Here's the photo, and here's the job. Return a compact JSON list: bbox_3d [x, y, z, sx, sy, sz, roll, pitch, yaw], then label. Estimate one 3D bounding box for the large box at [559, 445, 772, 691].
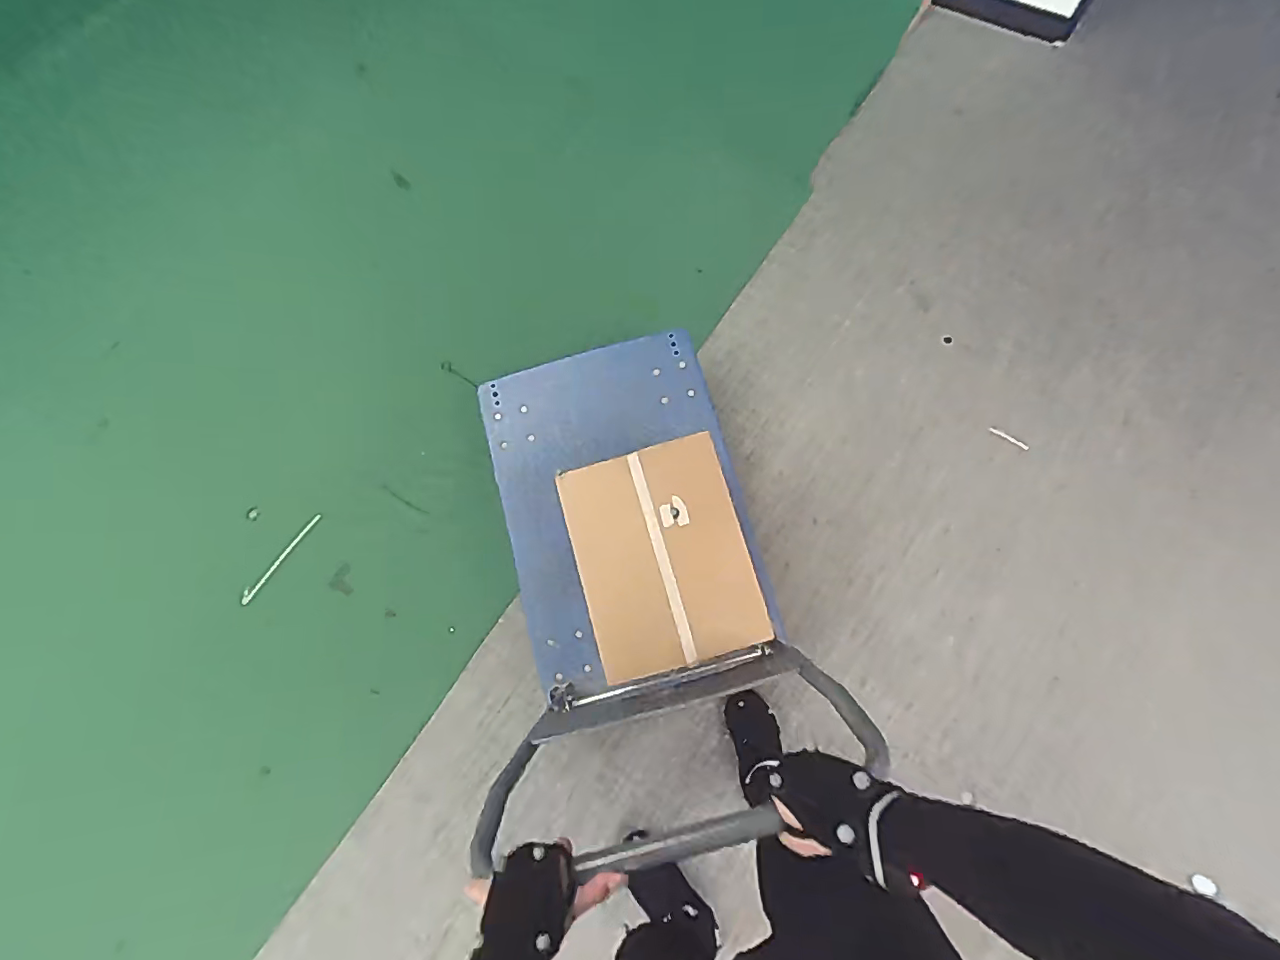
[{"bbox_3d":[0.051,0.187,1.166,0.320,0.320,0.408,-16,78,0],"label":"large box"}]
